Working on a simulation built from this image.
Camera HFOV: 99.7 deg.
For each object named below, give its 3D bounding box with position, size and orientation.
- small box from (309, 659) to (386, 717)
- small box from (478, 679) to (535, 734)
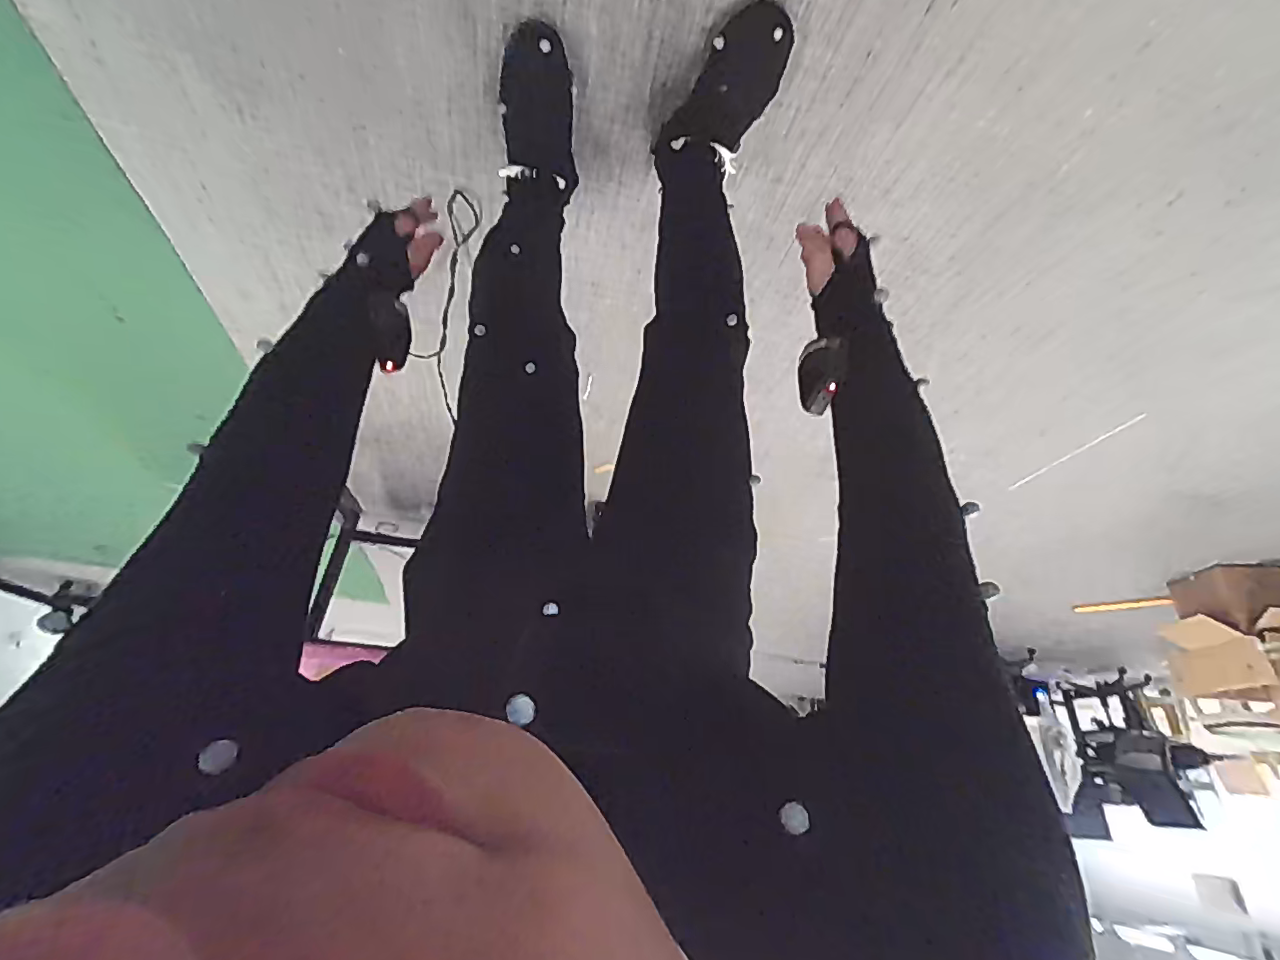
[{"bbox_3d":[-1.036,0.741,1.932,0.179,0.176,0.168,10,152,-8],"label":"small box"},{"bbox_3d":[-0.503,0.852,2.039,0.179,0.176,0.168,11,152,-9],"label":"small box"}]
